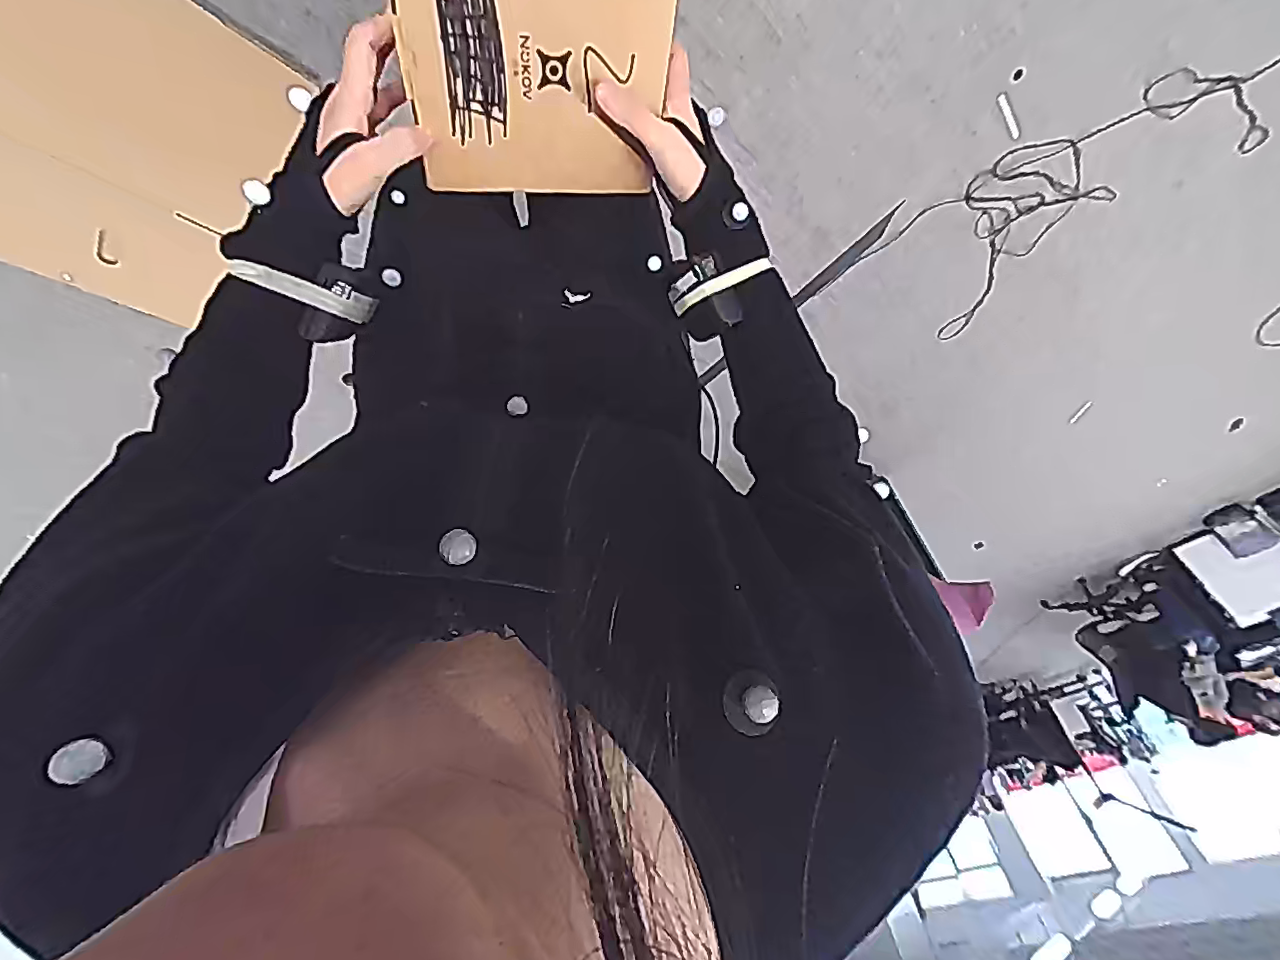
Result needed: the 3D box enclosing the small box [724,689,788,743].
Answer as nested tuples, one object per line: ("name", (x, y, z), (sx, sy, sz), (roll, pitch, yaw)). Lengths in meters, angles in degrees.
("small box", (0.475, 0.971, 2.223), (0.168, 0.176, 0.179), (-38, 137, 28))
